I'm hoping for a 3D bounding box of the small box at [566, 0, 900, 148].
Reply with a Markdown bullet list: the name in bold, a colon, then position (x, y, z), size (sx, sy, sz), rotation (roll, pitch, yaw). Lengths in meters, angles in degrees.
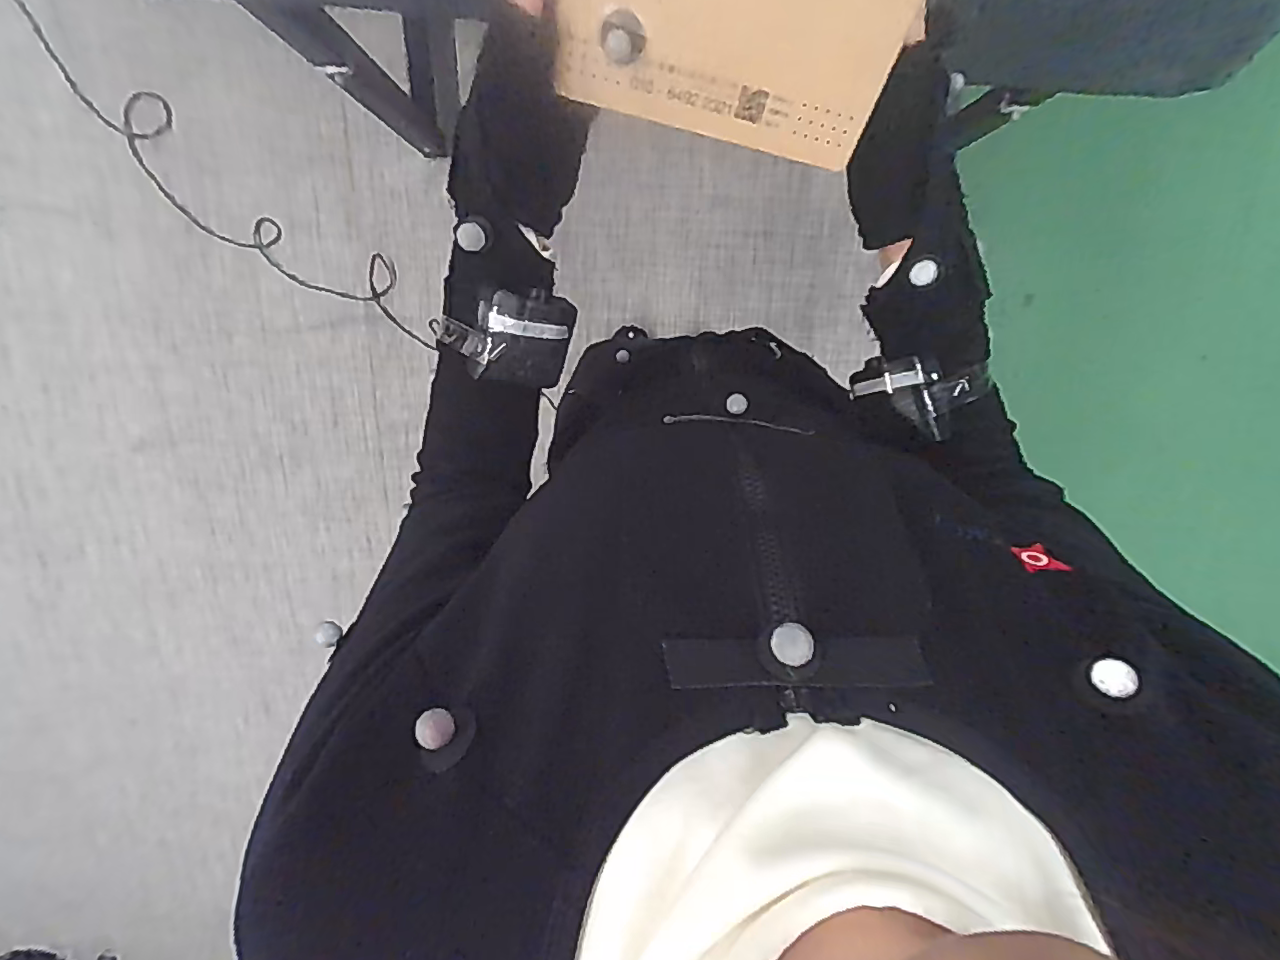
- **small box**: position (0.058, -0.313, 0.297), size (0.168, 0.179, 0.176), rotation (12, 138, -7)
